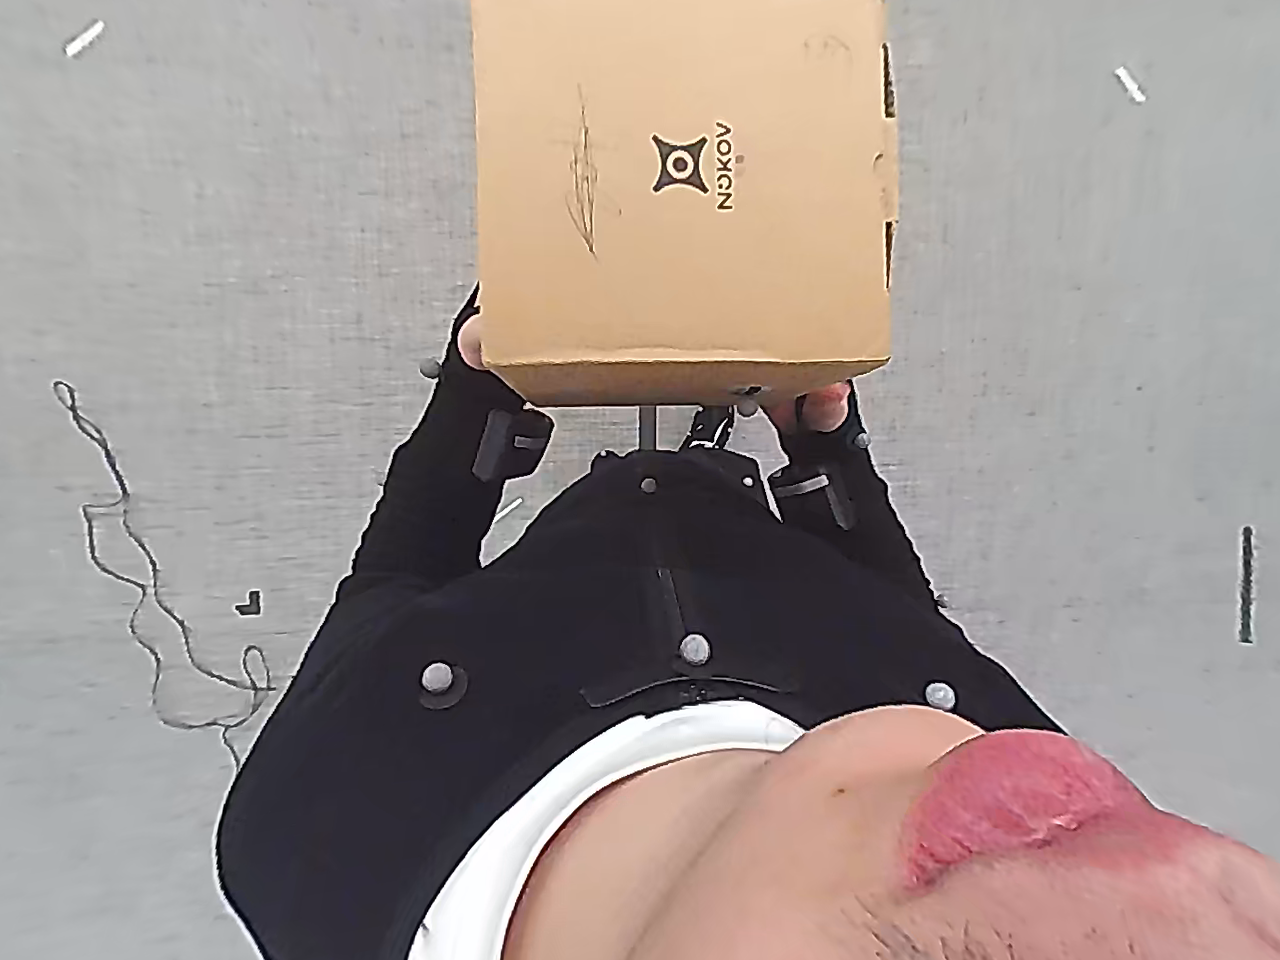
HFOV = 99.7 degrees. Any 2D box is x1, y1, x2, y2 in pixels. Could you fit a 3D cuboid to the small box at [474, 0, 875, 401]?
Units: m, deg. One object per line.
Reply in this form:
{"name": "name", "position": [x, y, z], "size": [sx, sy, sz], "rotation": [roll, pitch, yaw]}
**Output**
{"name": "small box", "position": [0.013, -0.139, 0.317], "size": [0.179, 0.176, 0.168], "rotation": [-3, 92, -3]}
